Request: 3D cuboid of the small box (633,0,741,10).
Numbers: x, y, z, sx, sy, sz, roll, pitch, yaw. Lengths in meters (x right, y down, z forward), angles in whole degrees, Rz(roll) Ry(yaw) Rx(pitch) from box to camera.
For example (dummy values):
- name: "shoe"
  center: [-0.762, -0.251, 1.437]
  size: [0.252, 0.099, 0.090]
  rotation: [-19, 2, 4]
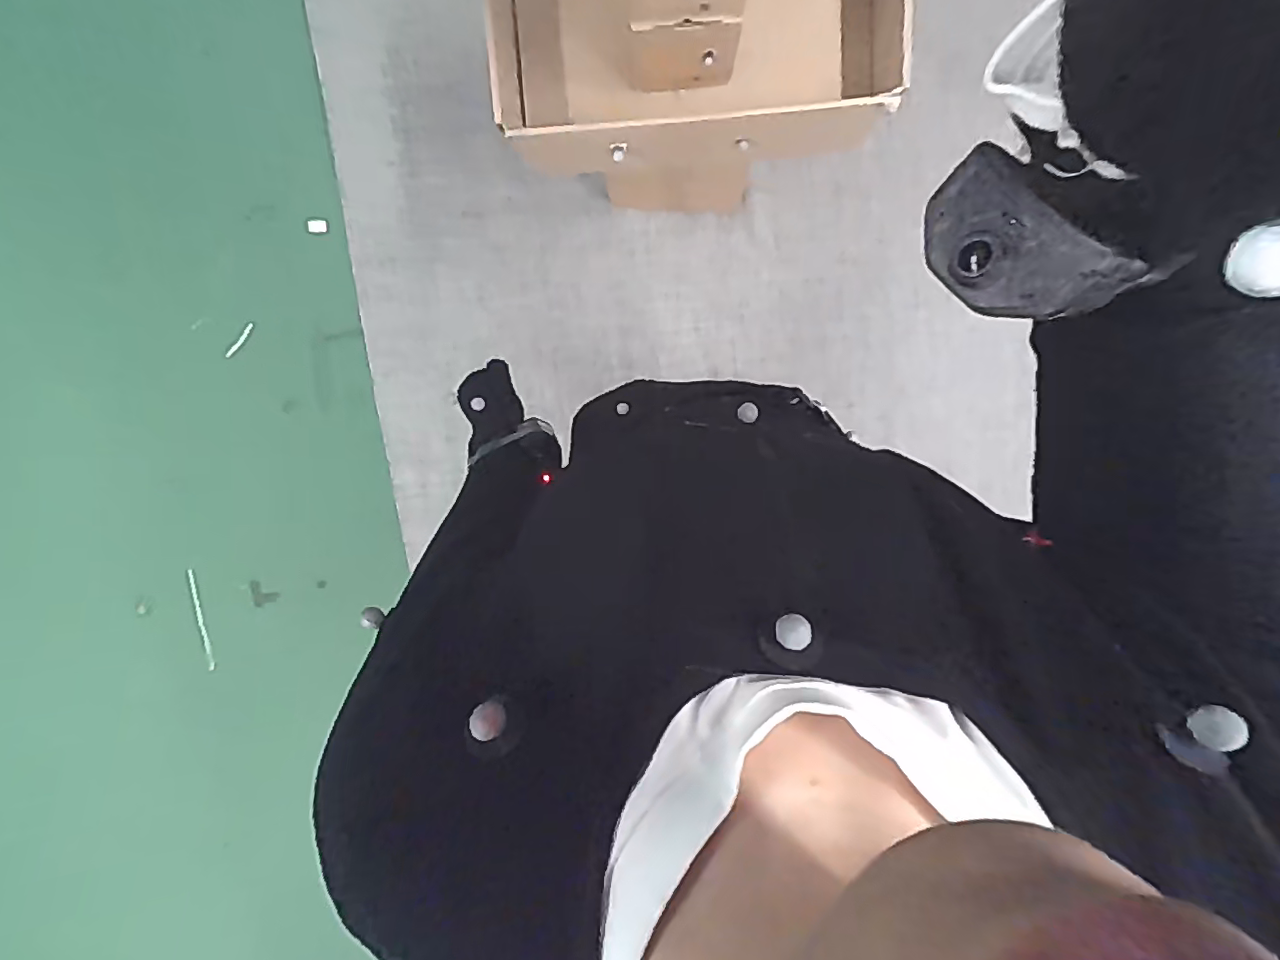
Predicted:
- name: "small box"
  center: [0.059, -0.727, 0.668]
  size: [0.168, 0.176, 0.179]
  rotation: [-4, 101, 1]

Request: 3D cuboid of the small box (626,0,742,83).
- name: "small box"
  center: [0.060, -0.746, 0.831]
  size: [0.168, 0.176, 0.179]
  rotation: [-4, 98, 1]
